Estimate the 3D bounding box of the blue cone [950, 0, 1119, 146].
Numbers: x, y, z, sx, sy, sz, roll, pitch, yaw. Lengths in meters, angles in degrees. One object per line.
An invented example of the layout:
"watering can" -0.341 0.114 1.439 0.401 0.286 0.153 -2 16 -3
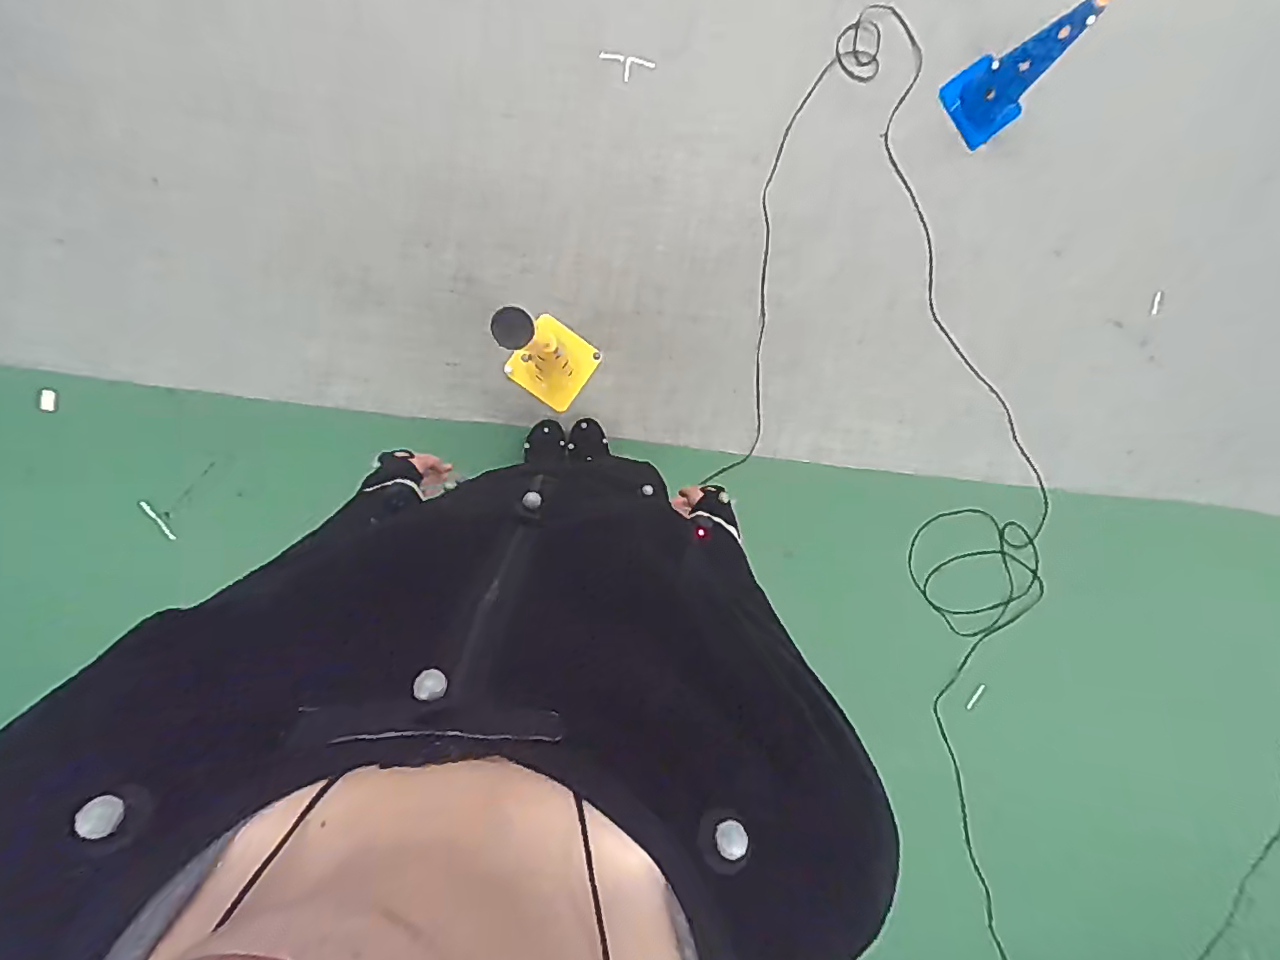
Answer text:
"blue cone" 1.008 -1.066 1.372 0.193 0.380 0.192 -39 98 -5
